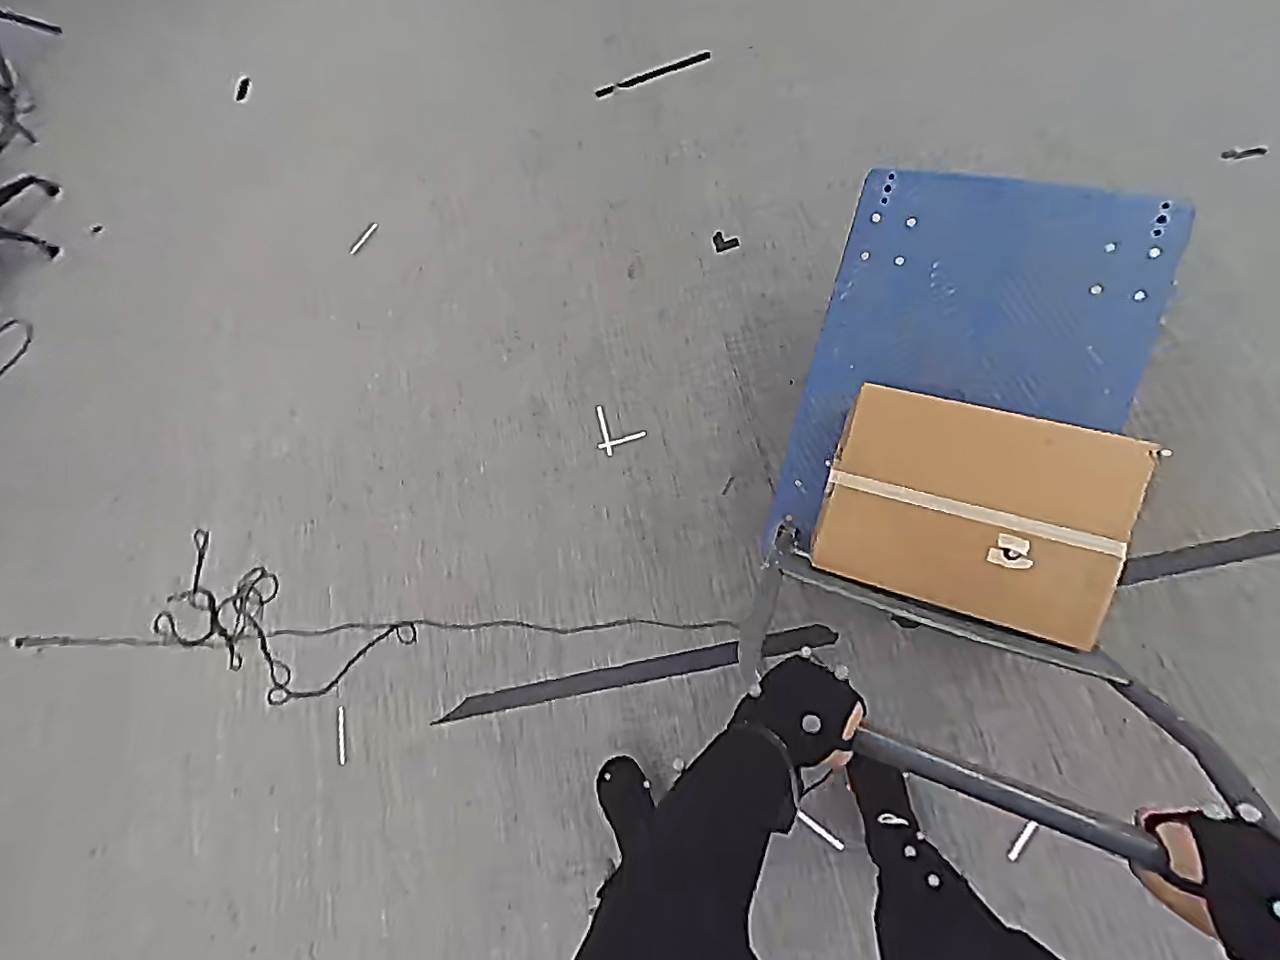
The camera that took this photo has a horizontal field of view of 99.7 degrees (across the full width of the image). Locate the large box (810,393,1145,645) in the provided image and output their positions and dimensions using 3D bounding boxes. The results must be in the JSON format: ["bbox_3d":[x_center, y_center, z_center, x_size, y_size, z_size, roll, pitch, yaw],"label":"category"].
[{"bbox_3d":[0.549,0.050,0.984,0.408,0.320,0.320,16,96,16],"label":"large box"}]
